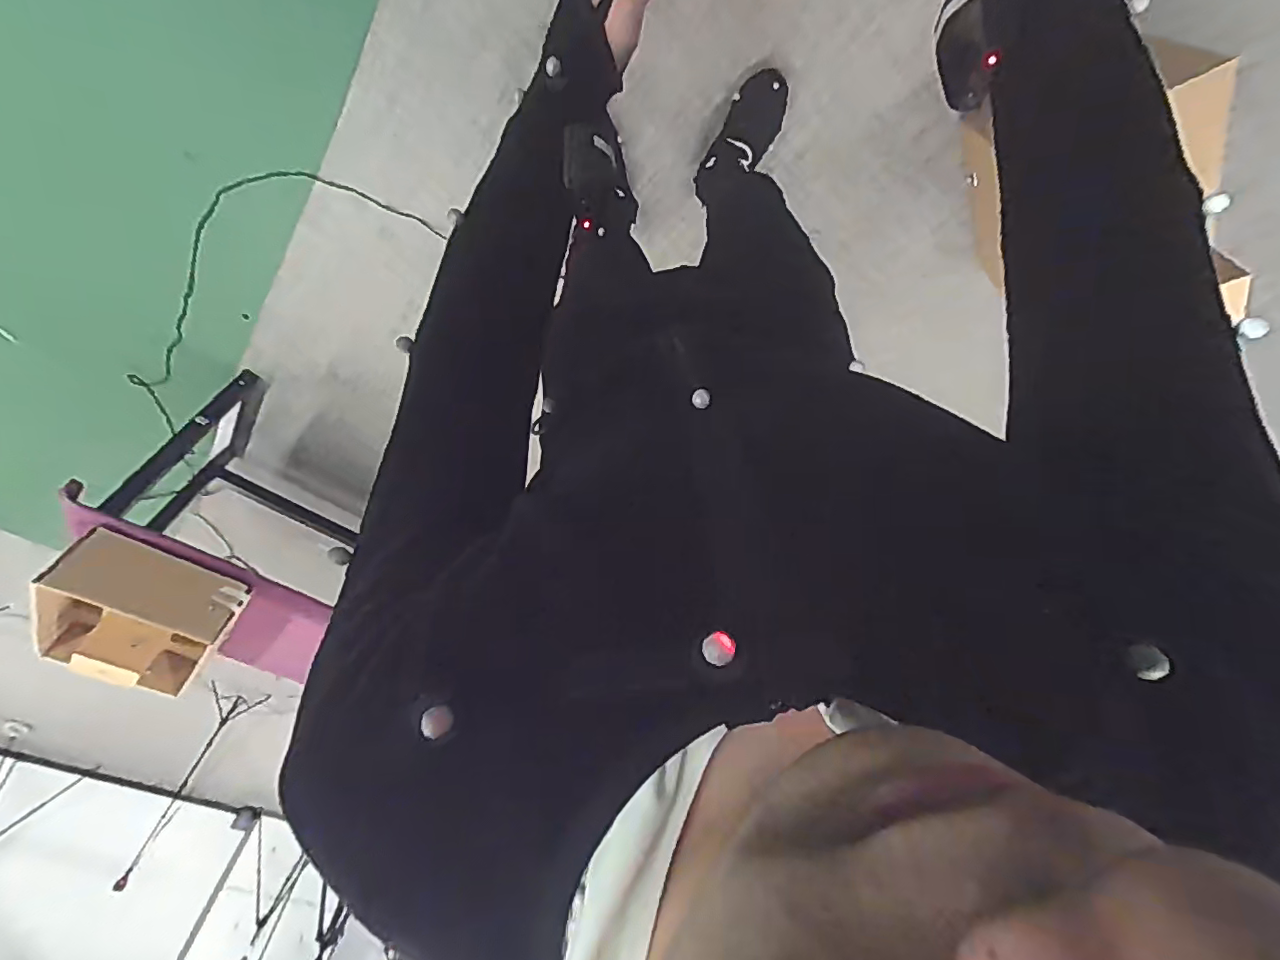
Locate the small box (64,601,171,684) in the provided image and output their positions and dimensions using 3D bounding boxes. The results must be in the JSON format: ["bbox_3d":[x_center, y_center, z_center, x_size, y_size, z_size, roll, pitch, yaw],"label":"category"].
[{"bbox_3d":[-1.567,0.489,1.630,0.168,0.176,0.179,35,130,-27],"label":"small box"}]
